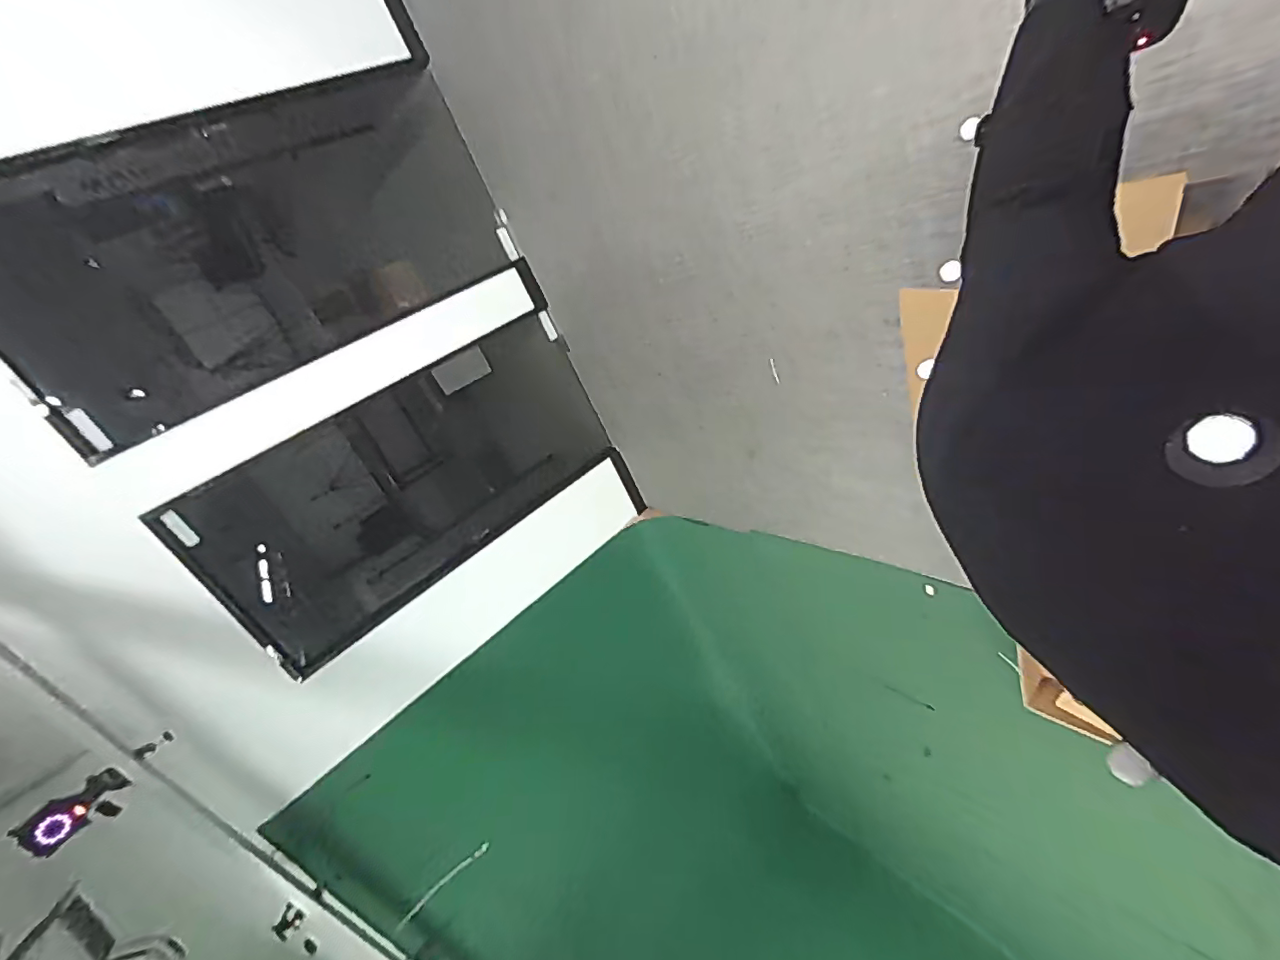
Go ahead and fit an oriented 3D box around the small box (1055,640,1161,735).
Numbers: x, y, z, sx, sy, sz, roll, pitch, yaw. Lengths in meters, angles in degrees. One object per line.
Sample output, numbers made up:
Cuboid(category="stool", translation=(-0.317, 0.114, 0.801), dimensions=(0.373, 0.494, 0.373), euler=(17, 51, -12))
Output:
Cuboid(category="small box", translation=(1.384, 0.605, 1.603), dimensions=(0.179, 0.176, 0.168), euler=(28, 145, 41))
